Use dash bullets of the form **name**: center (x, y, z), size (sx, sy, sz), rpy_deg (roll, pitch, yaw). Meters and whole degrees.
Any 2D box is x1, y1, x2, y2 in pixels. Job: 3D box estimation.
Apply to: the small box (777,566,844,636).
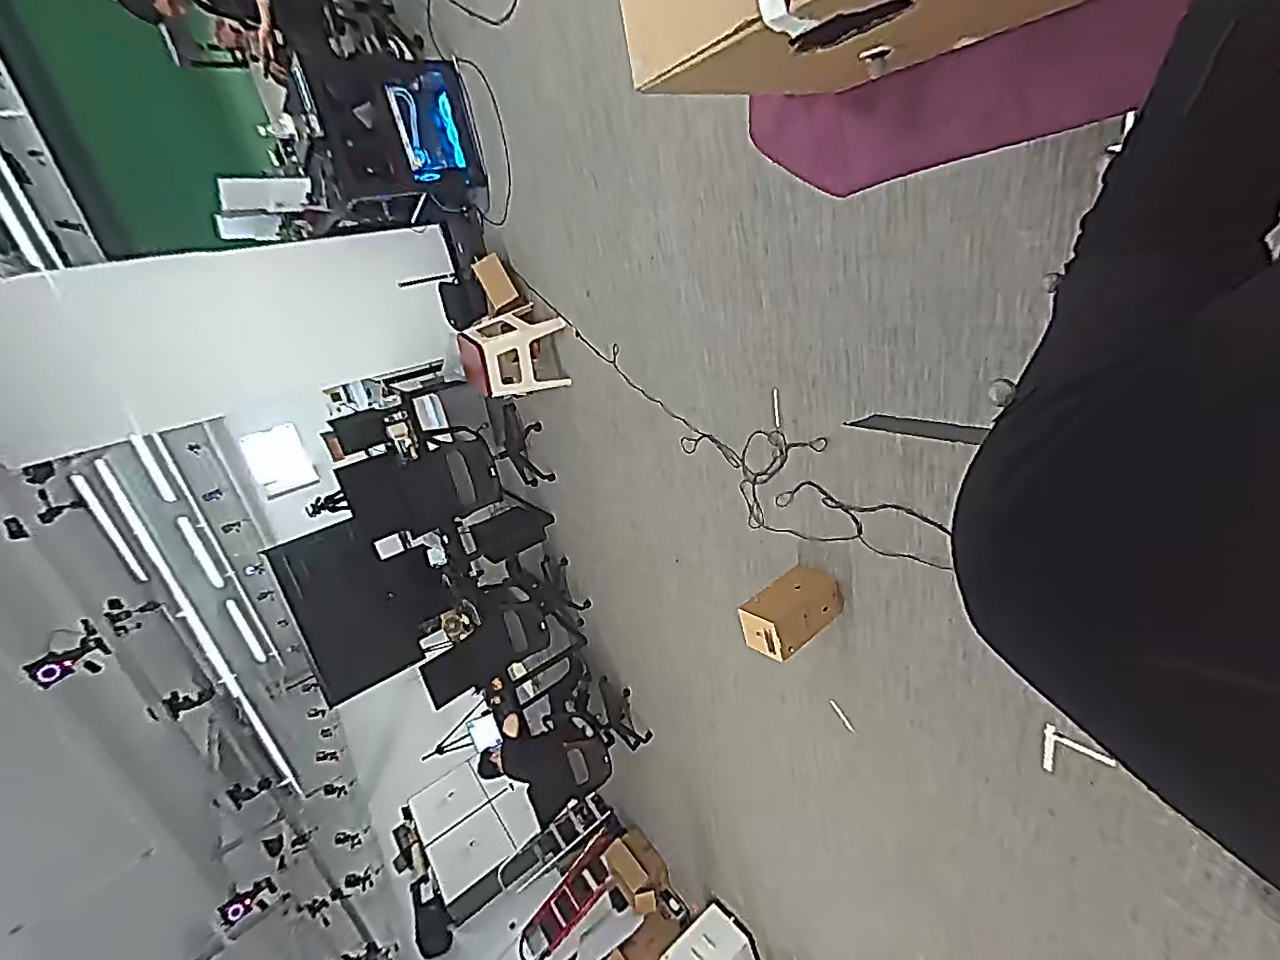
- **small box**: center (0.640, 0.442, 2.010), size (0.179, 0.176, 0.168), rpy_deg (18, 127, 53)
